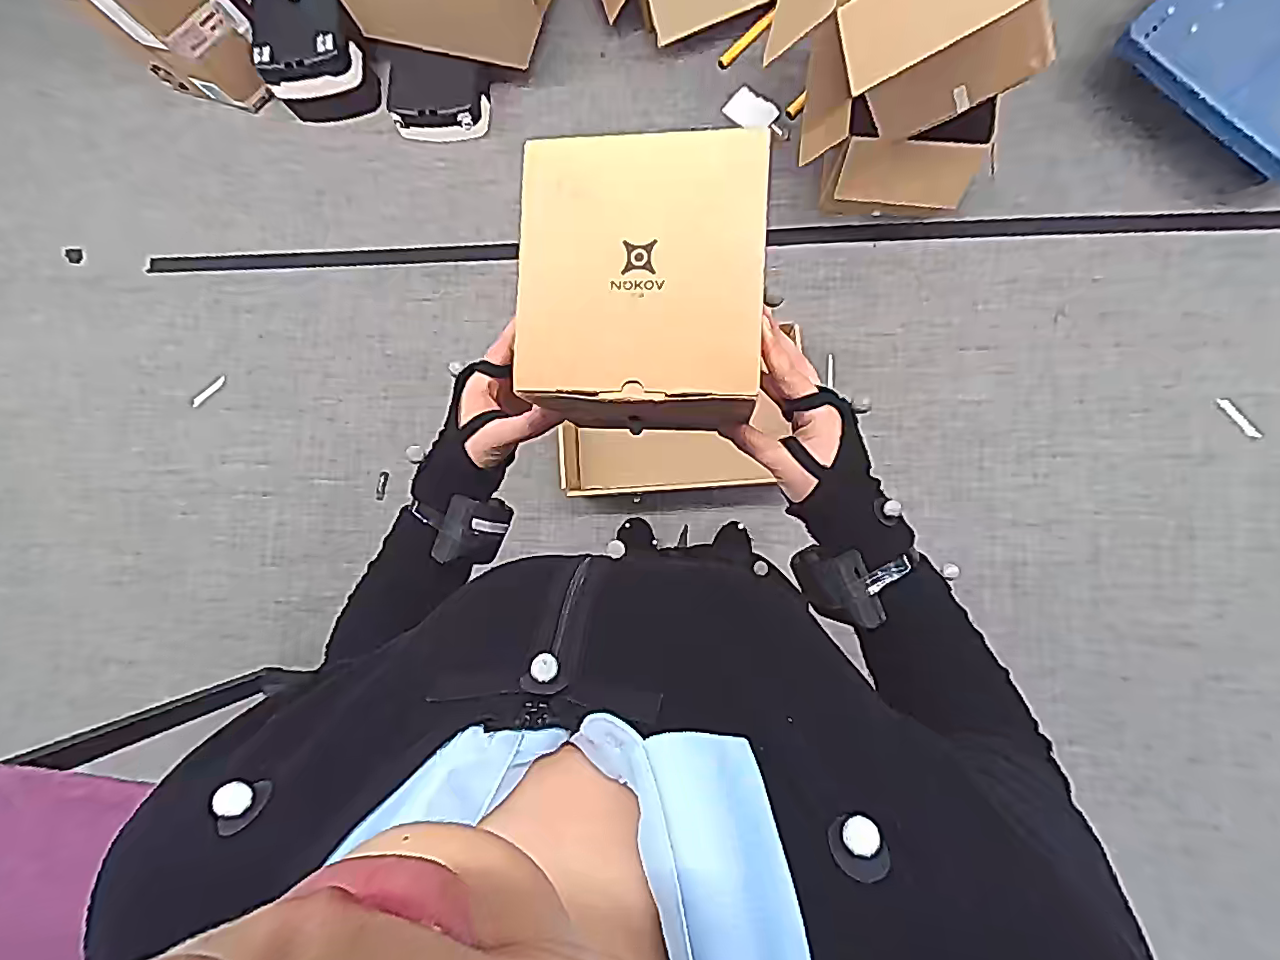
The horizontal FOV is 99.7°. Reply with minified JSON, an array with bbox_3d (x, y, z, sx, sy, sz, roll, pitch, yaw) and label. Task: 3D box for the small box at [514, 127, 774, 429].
[{"bbox_3d":[0.011,-0.141,0.432,0.168,0.176,0.179,2,89,8],"label":"small box"}]
